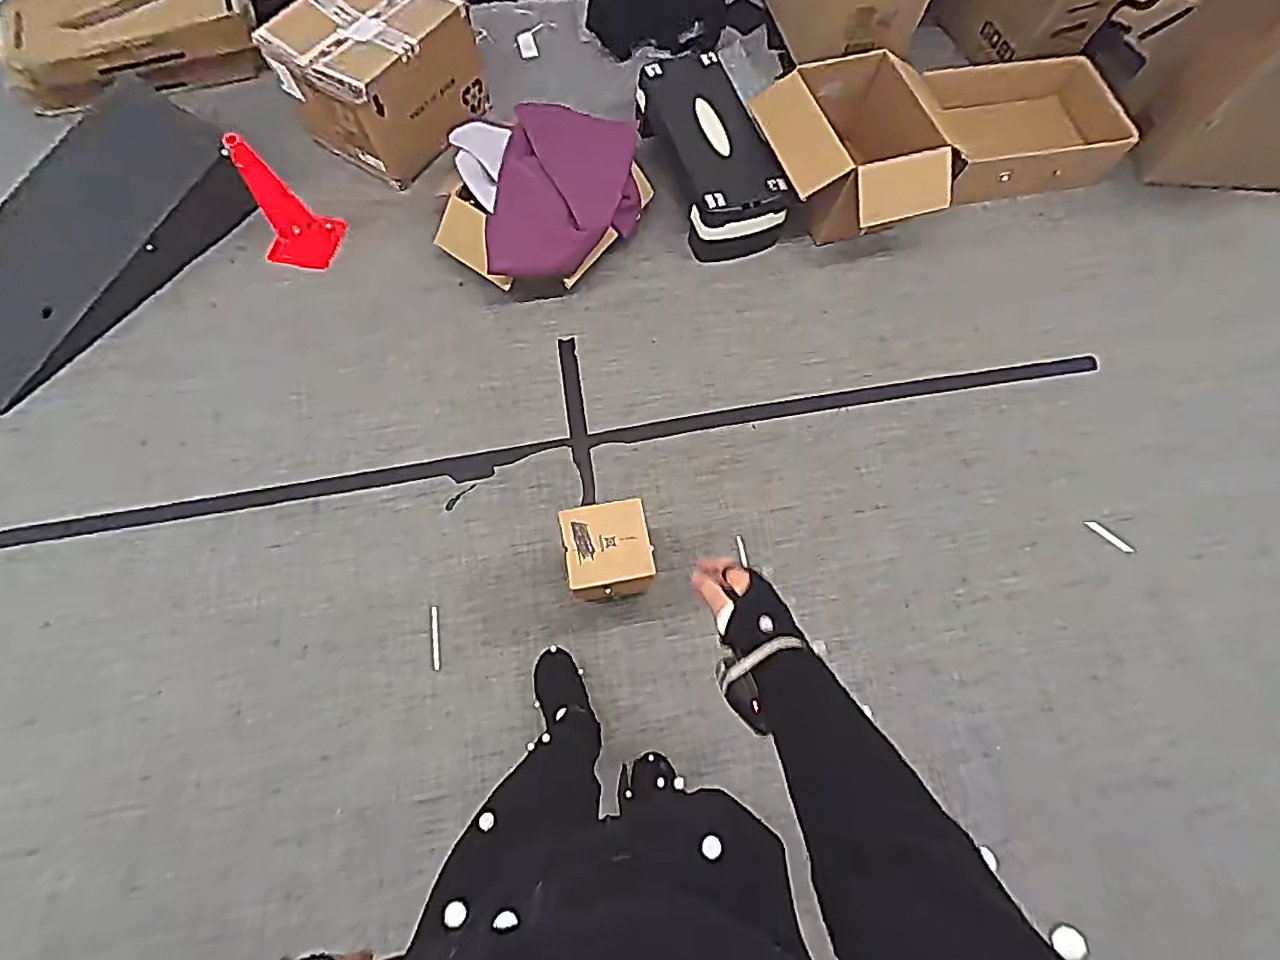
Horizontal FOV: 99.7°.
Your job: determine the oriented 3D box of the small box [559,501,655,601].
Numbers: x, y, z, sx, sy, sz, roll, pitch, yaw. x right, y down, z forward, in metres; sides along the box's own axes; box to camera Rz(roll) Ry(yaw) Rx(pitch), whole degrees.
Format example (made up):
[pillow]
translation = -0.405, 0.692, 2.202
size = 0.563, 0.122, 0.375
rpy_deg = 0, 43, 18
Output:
[small box]
translation = -0.070, 0.159, 1.166
size = 0.179, 0.176, 0.168
rpy_deg = -9, 72, -6
